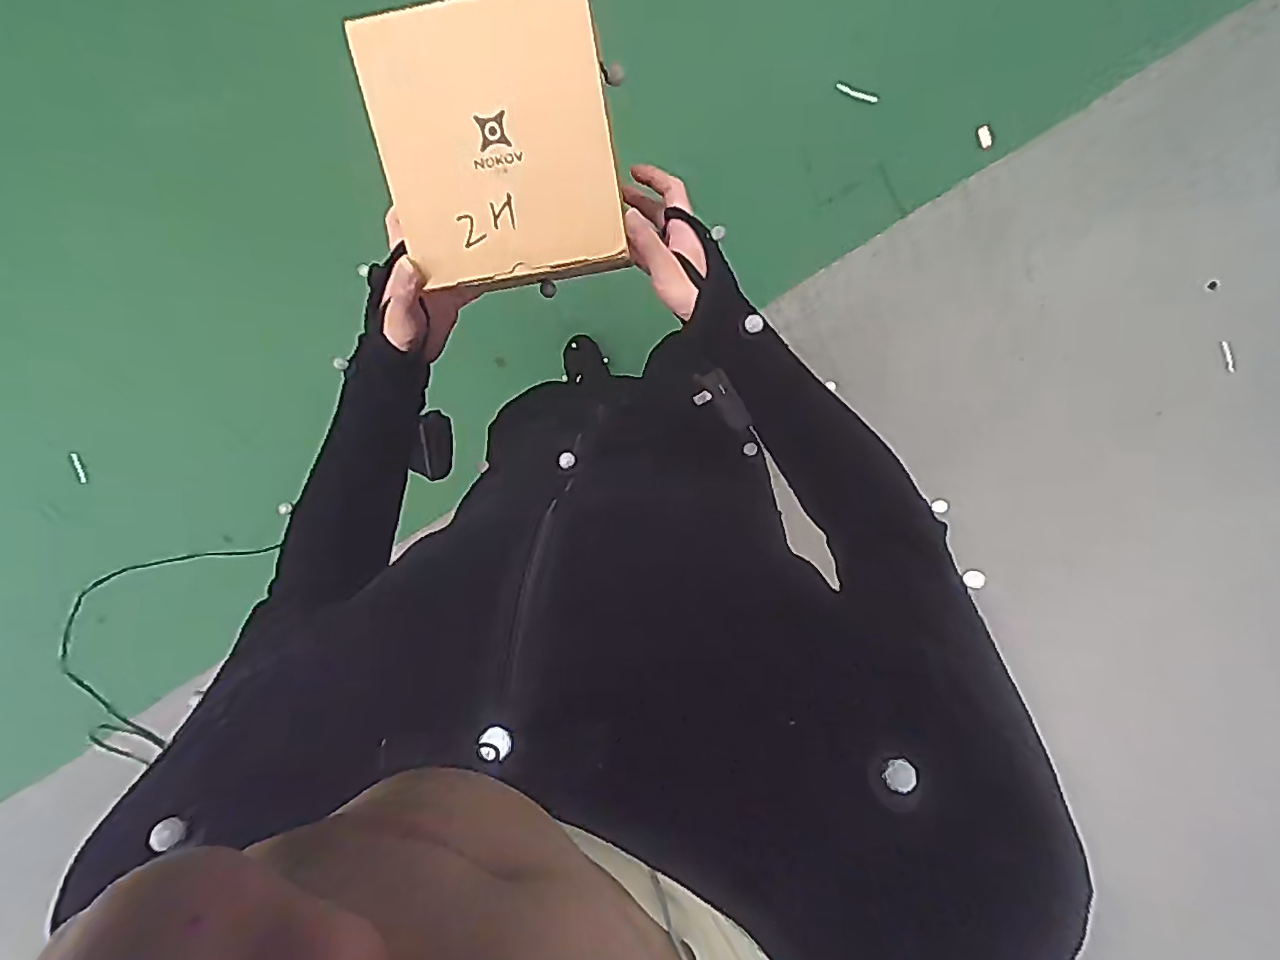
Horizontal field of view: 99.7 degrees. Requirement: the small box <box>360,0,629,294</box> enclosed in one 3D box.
[{"bbox_3d":[-0.102,-0.264,0.471,0.168,0.176,0.179,-8,109,3],"label":"small box"}]
